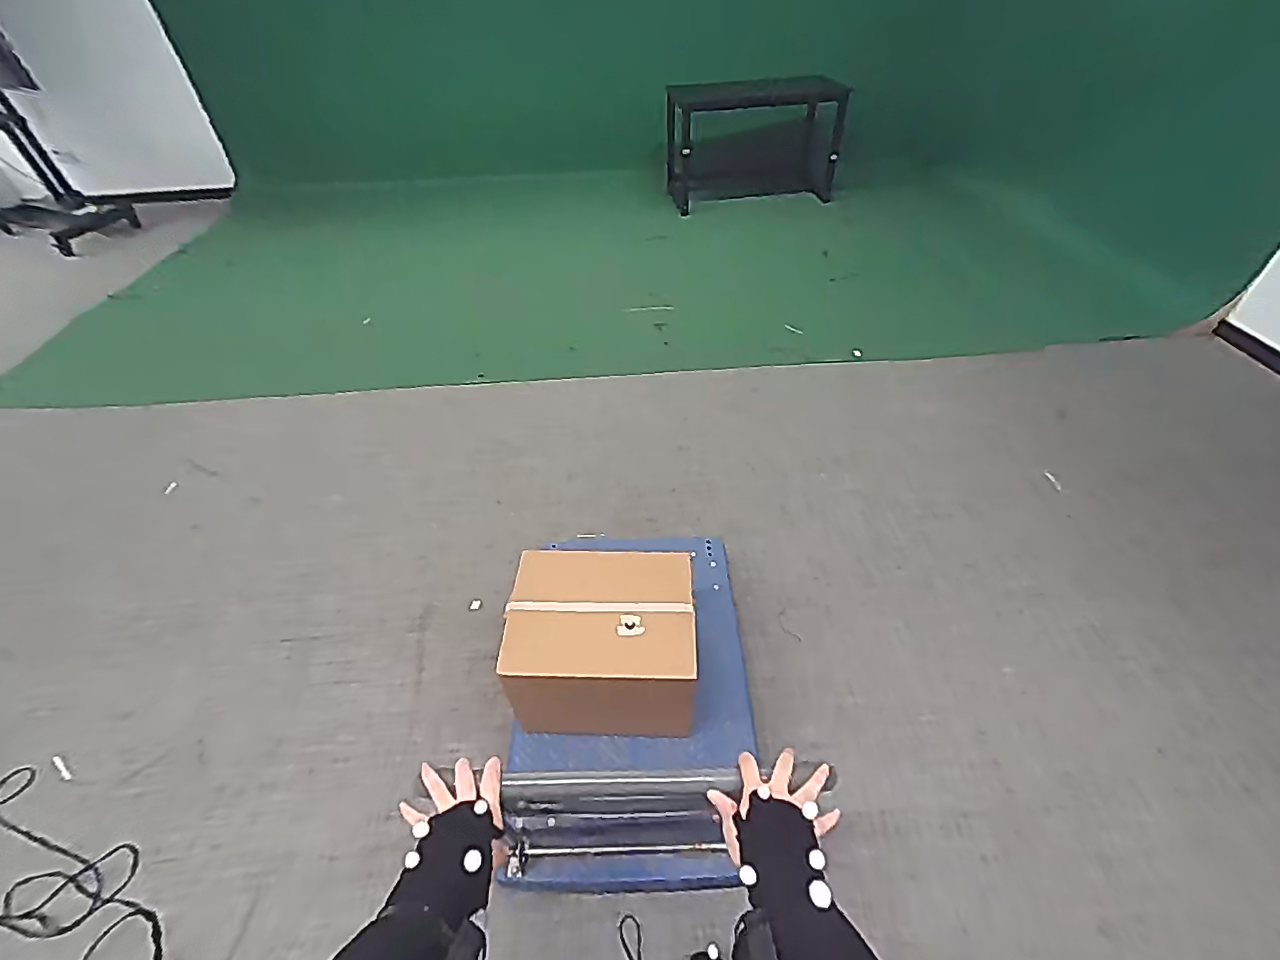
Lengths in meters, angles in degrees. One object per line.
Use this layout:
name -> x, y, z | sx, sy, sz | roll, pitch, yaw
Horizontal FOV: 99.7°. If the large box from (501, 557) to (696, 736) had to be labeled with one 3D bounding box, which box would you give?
large box -> -0.086, 0.401, 1.302 | 0.408, 0.320, 0.320 | 1, 45, 1
